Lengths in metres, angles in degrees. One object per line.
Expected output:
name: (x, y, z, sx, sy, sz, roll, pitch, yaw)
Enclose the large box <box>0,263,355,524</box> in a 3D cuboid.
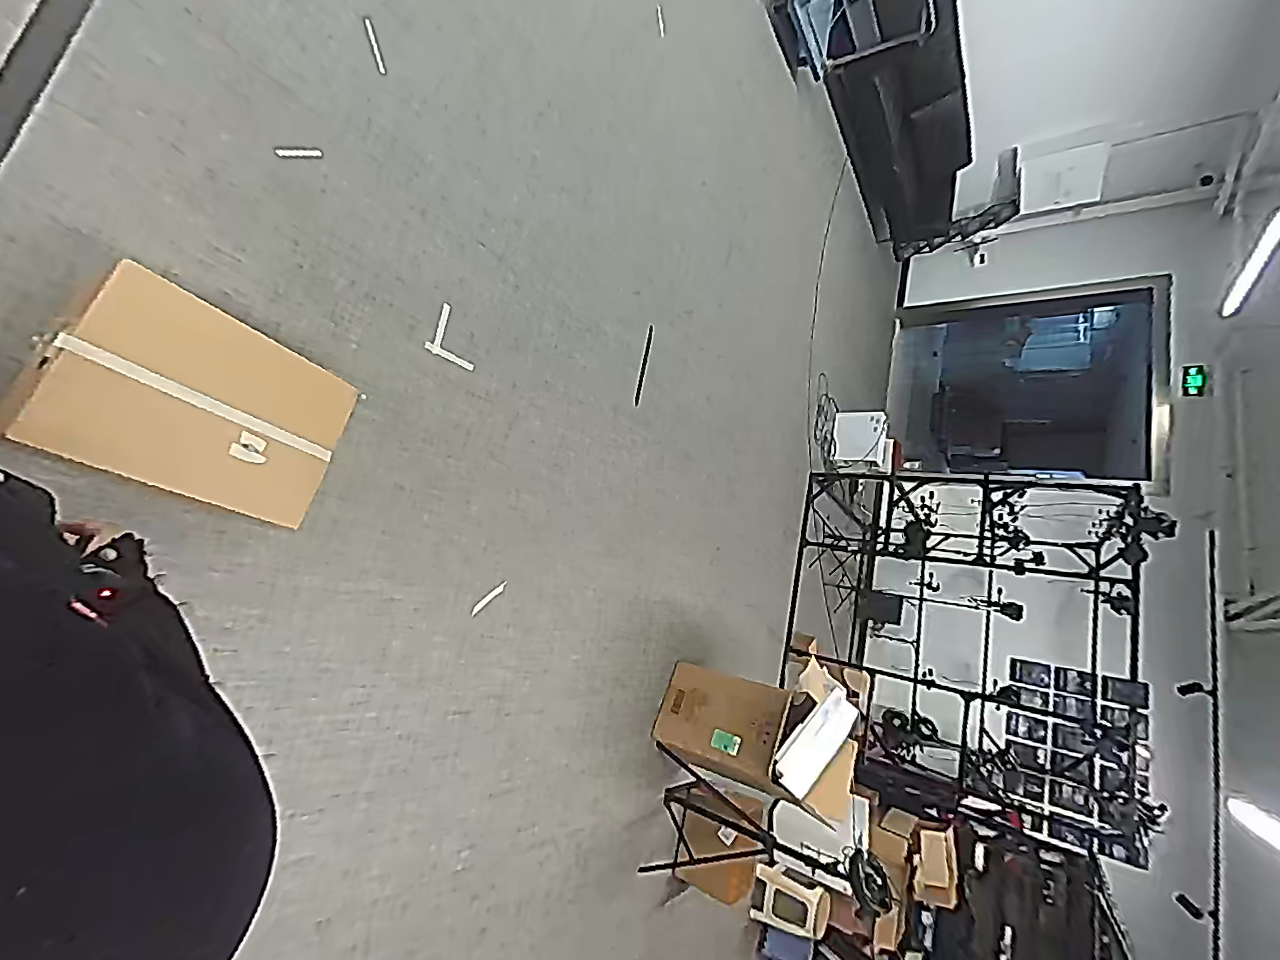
large box: (-0.854, -0.131, 1.017, 0.408, 0.320, 0.320, 37, 63, -51)
